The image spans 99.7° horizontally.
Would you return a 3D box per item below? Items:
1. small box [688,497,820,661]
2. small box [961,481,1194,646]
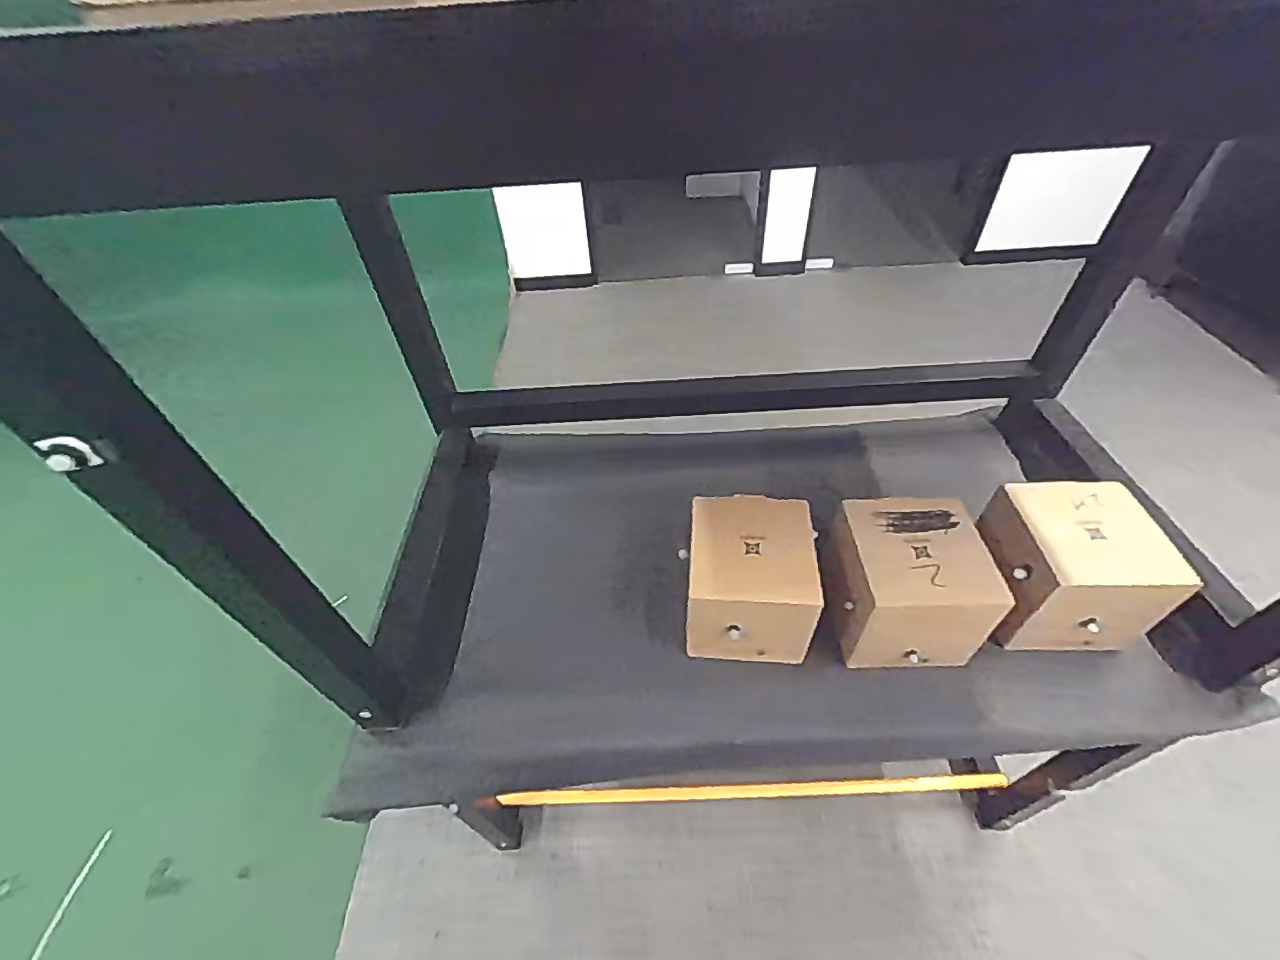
[{"bbox_3d":[0.156,0.145,0.785,0.168,0.176,0.179,2,46,6],"label":"small box"},{"bbox_3d":[0.596,0.122,0.770,0.168,0.176,0.179,-1,45,3],"label":"small box"}]
